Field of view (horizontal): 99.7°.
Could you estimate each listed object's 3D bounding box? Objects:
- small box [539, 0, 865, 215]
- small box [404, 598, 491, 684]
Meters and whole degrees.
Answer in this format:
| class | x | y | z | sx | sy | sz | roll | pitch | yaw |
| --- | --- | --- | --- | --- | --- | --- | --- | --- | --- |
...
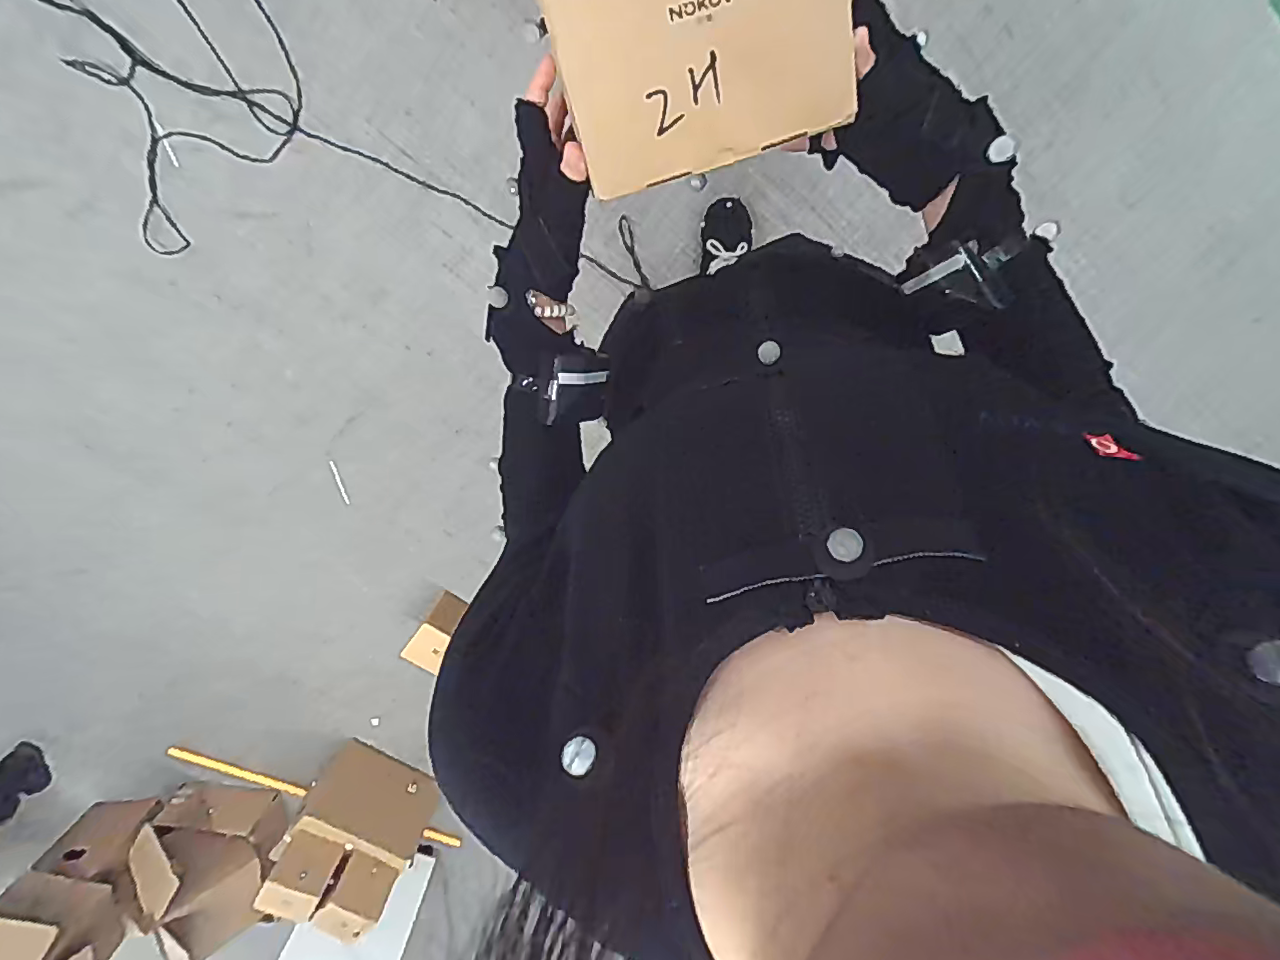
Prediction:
| class | x | y | z | sx | sy | sz | roll | pitch | yaw |
| --- | --- | --- | --- | --- | --- | --- | --- | --- | --- |
| small box | 0.027 | -0.292 | 0.356 | 0.168 | 0.176 | 0.179 | -16 | 119 | 4 |
| small box | -0.608 | 0.504 | 1.724 | 0.179 | 0.176 | 0.168 | 35 | 111 | -14 |
